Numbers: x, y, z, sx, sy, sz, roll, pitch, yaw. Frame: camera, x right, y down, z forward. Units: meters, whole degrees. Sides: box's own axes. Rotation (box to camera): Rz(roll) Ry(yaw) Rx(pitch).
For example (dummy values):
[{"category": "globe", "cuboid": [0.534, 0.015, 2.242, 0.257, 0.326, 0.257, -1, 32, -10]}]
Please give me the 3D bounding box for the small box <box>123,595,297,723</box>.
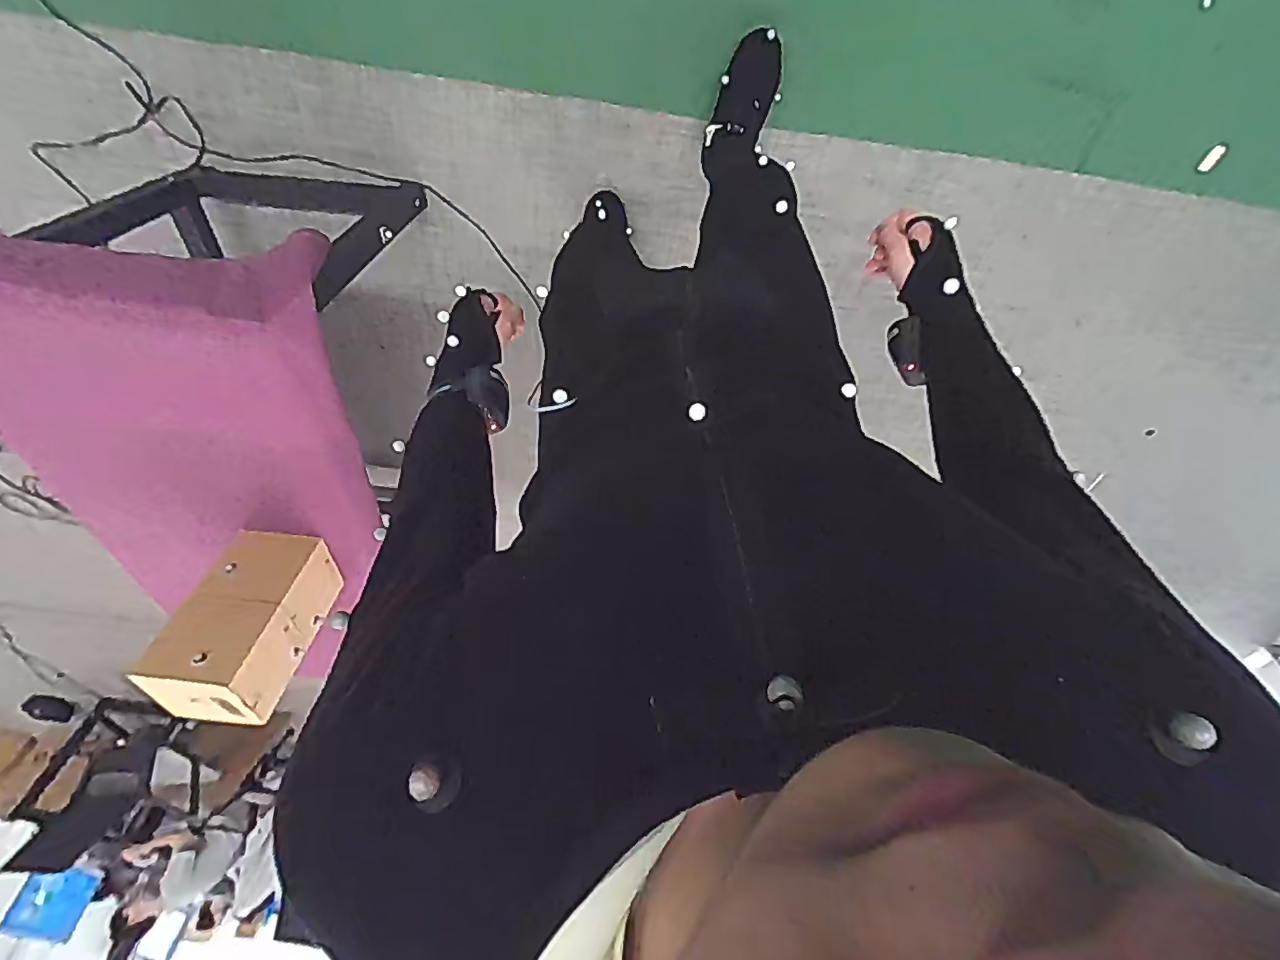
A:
[{"category": "small box", "cuboid": [-0.785, 0.335, 1.020, 0.179, 0.176, 0.168, 7, 133, -1]}]
